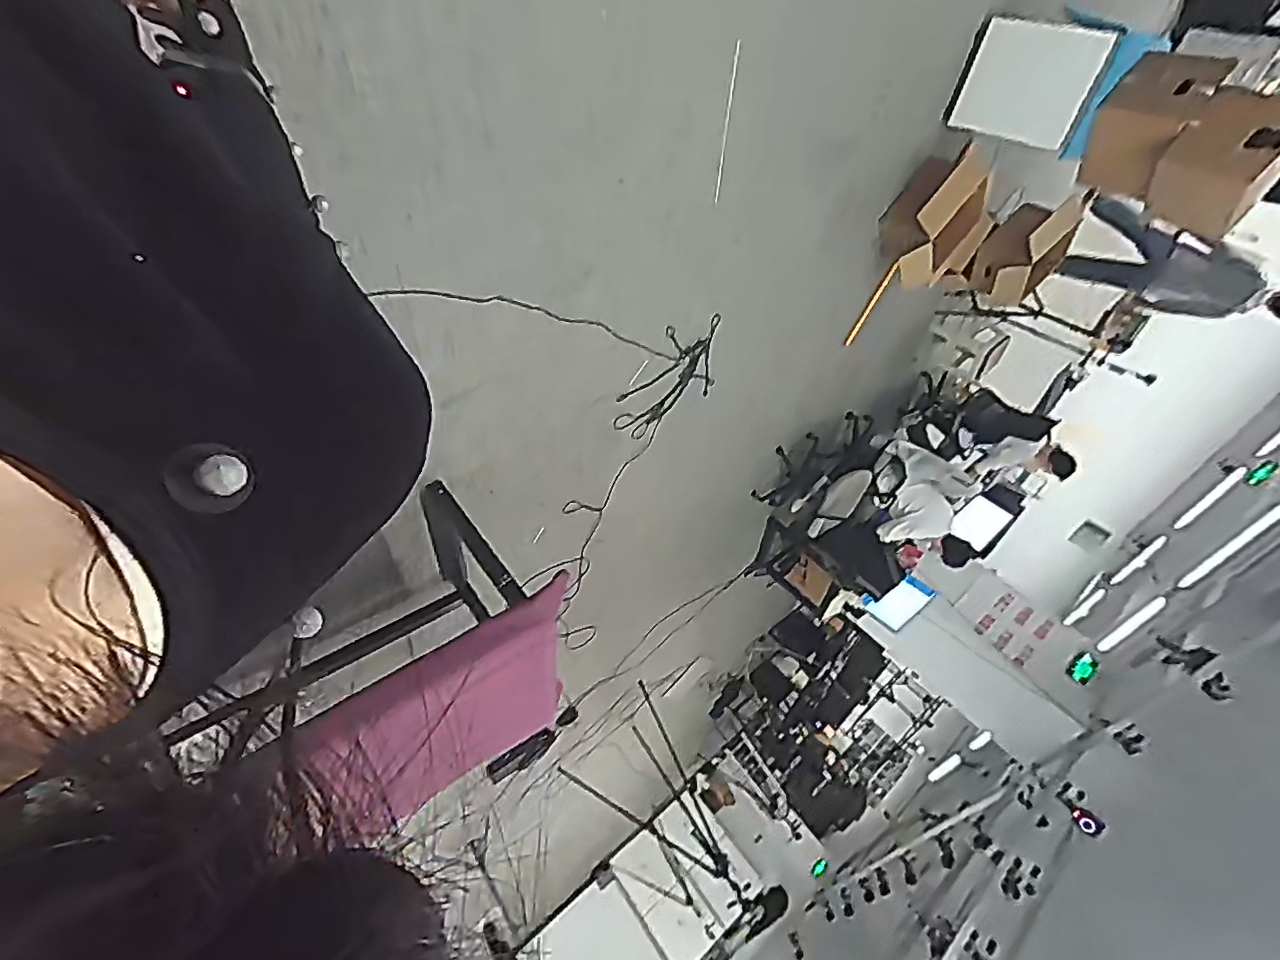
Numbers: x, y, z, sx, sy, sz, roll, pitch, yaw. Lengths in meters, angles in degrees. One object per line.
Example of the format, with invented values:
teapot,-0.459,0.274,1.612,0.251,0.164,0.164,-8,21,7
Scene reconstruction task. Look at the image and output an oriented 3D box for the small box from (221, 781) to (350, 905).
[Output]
small box,-0.782,0.807,1.199,0.168,0.176,0.179,-31,145,-26
